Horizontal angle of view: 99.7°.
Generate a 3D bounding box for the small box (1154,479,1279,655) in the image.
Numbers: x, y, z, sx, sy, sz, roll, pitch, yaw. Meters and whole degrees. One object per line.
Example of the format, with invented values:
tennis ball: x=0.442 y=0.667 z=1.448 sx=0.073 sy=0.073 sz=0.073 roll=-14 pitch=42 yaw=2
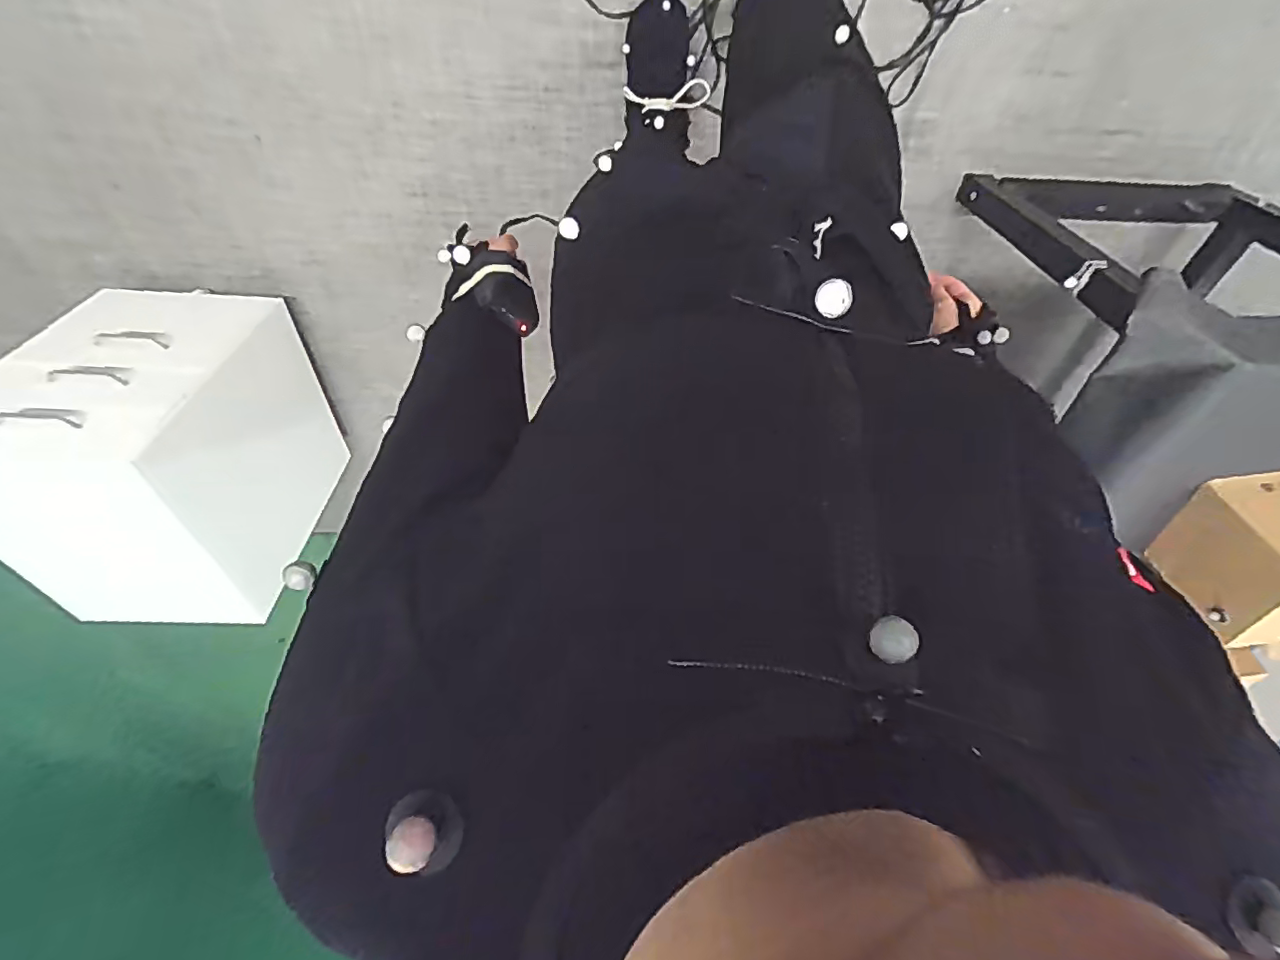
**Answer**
small box: x=0.863 y=0.110 z=0.727 sx=0.168 sy=0.176 sz=0.179 roll=-8 pitch=135 yaw=6
